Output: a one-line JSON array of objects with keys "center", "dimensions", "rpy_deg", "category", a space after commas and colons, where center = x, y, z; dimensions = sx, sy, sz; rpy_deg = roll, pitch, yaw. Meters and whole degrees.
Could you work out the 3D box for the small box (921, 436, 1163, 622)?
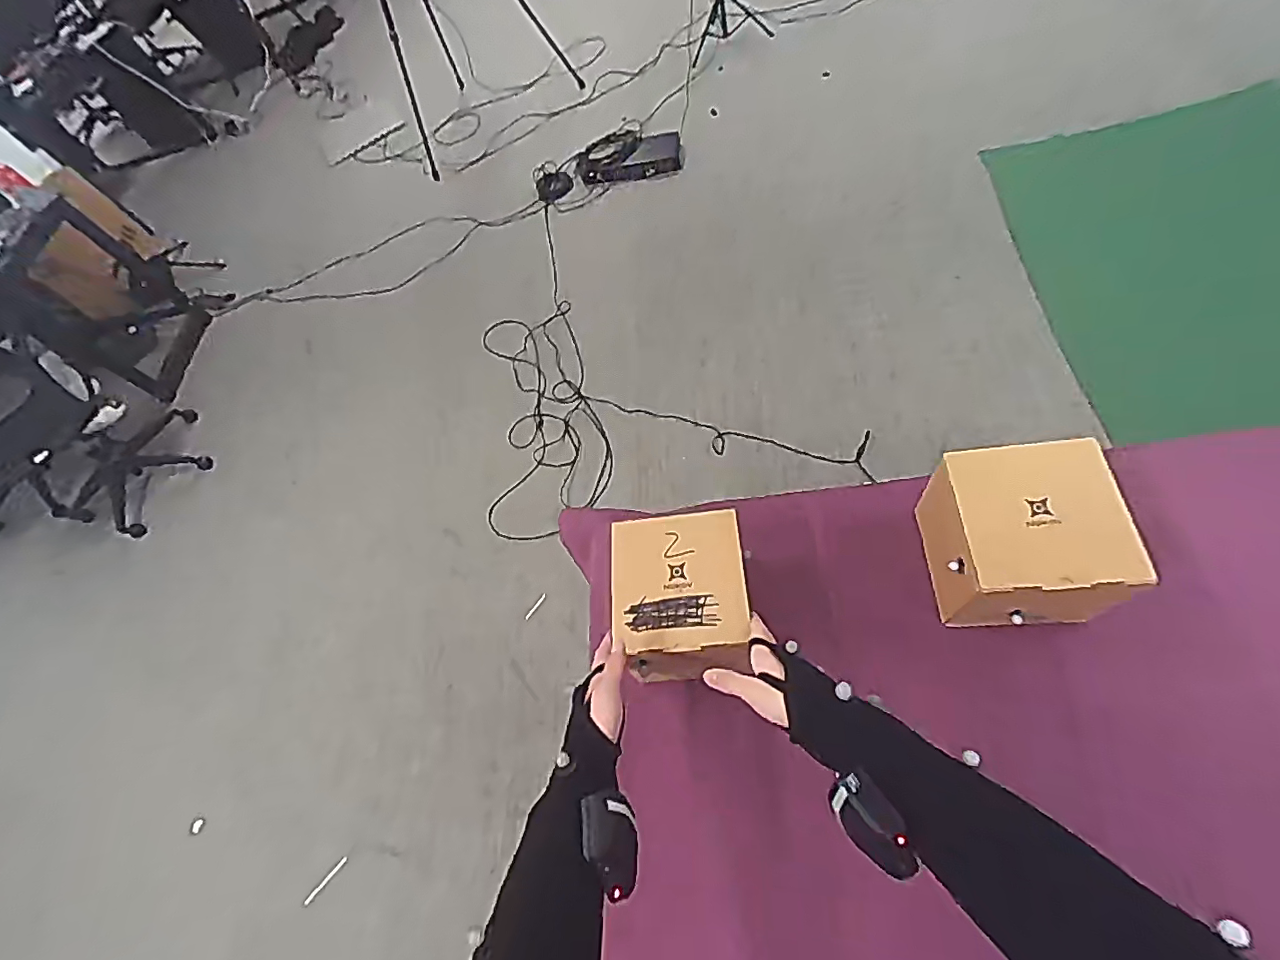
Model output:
[{"center": [0.467, 0.068, 0.668], "dimensions": [0.168, 0.176, 0.179], "rpy_deg": [-6, 63, 12], "category": "small box"}]
